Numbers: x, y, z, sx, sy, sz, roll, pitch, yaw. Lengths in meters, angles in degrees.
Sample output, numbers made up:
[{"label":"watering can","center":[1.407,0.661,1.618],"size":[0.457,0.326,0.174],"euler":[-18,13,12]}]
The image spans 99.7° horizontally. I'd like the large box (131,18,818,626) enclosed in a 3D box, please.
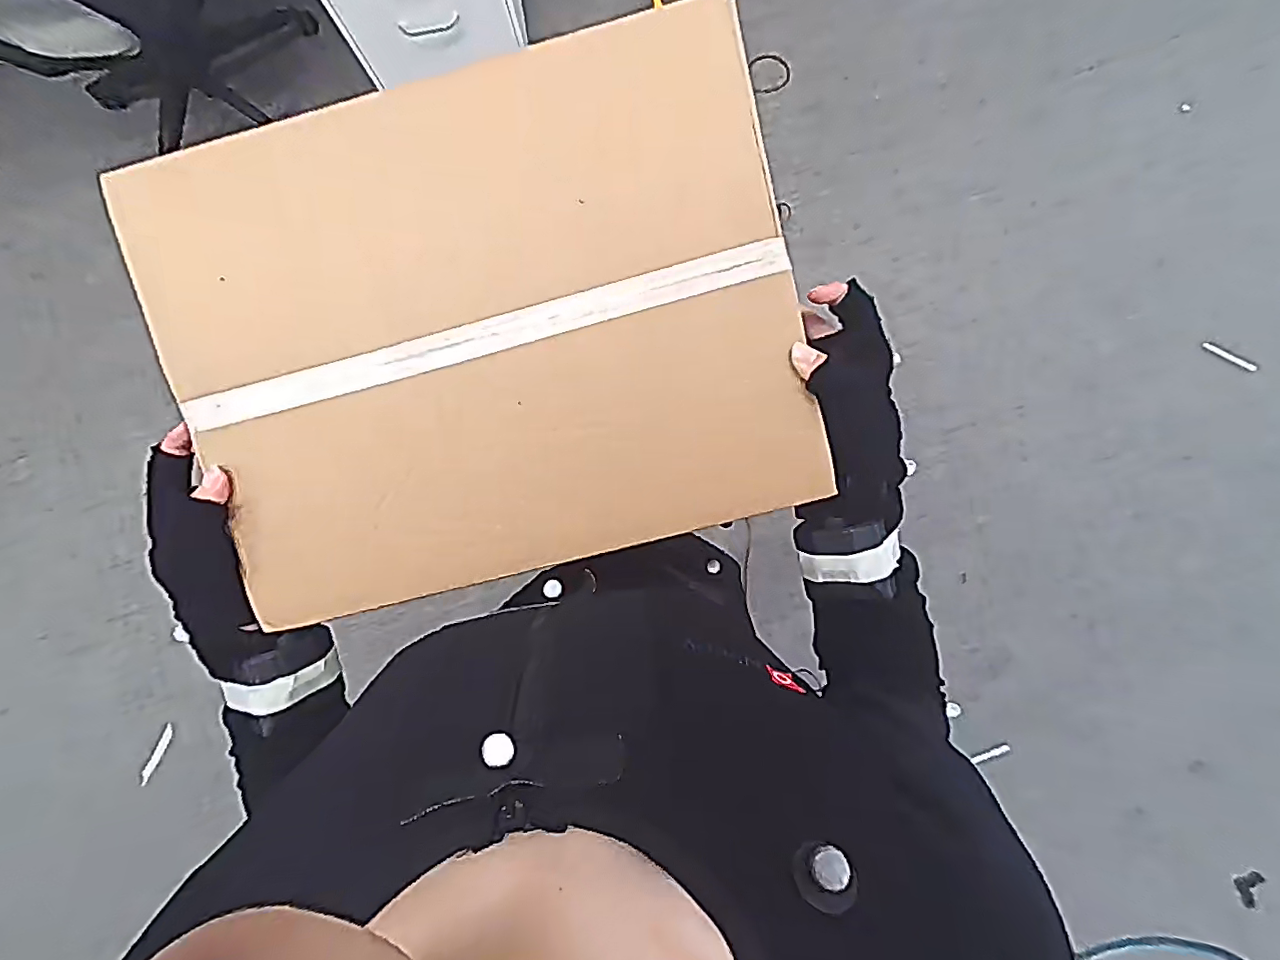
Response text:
[{"label":"large box","center":[-0.101,-0.110,0.508],"size":[0.408,0.320,0.320],"euler":[-14,96,3]}]
